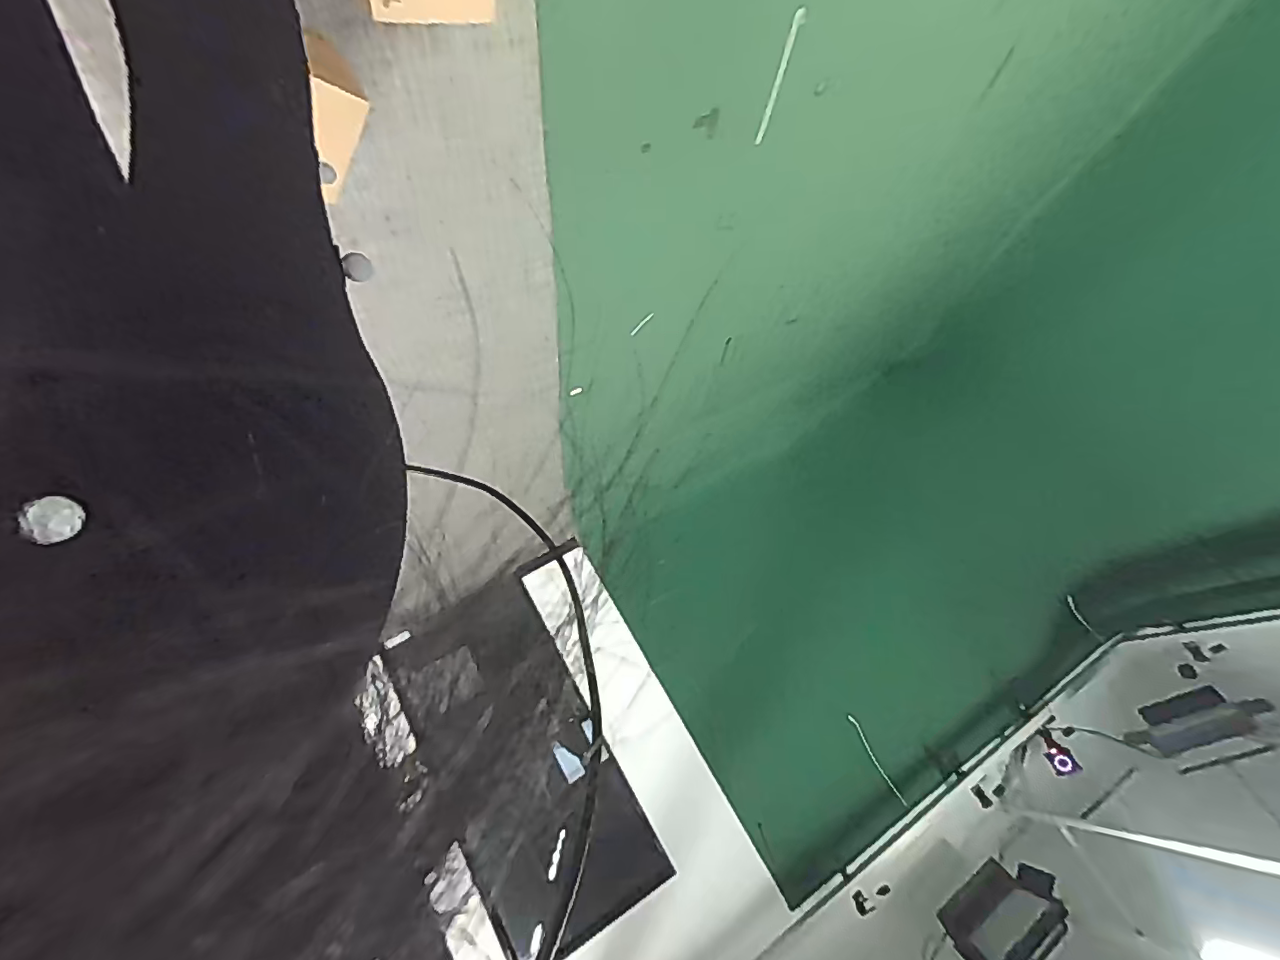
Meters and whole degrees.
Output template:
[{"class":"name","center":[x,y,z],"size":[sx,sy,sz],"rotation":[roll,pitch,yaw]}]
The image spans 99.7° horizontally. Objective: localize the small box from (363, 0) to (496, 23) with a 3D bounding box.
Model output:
[{"class":"small box","center":[-0.302,-0.744,0.708],"size":[0.179,0.176,0.168],"rotation":[-23,161,-26]}]

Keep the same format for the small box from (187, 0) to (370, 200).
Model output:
[{"class":"small box","center":[-0.537,-0.566,0.798],"size":[0.179,0.176,0.168],"rotation":[-44,159,31]}]
